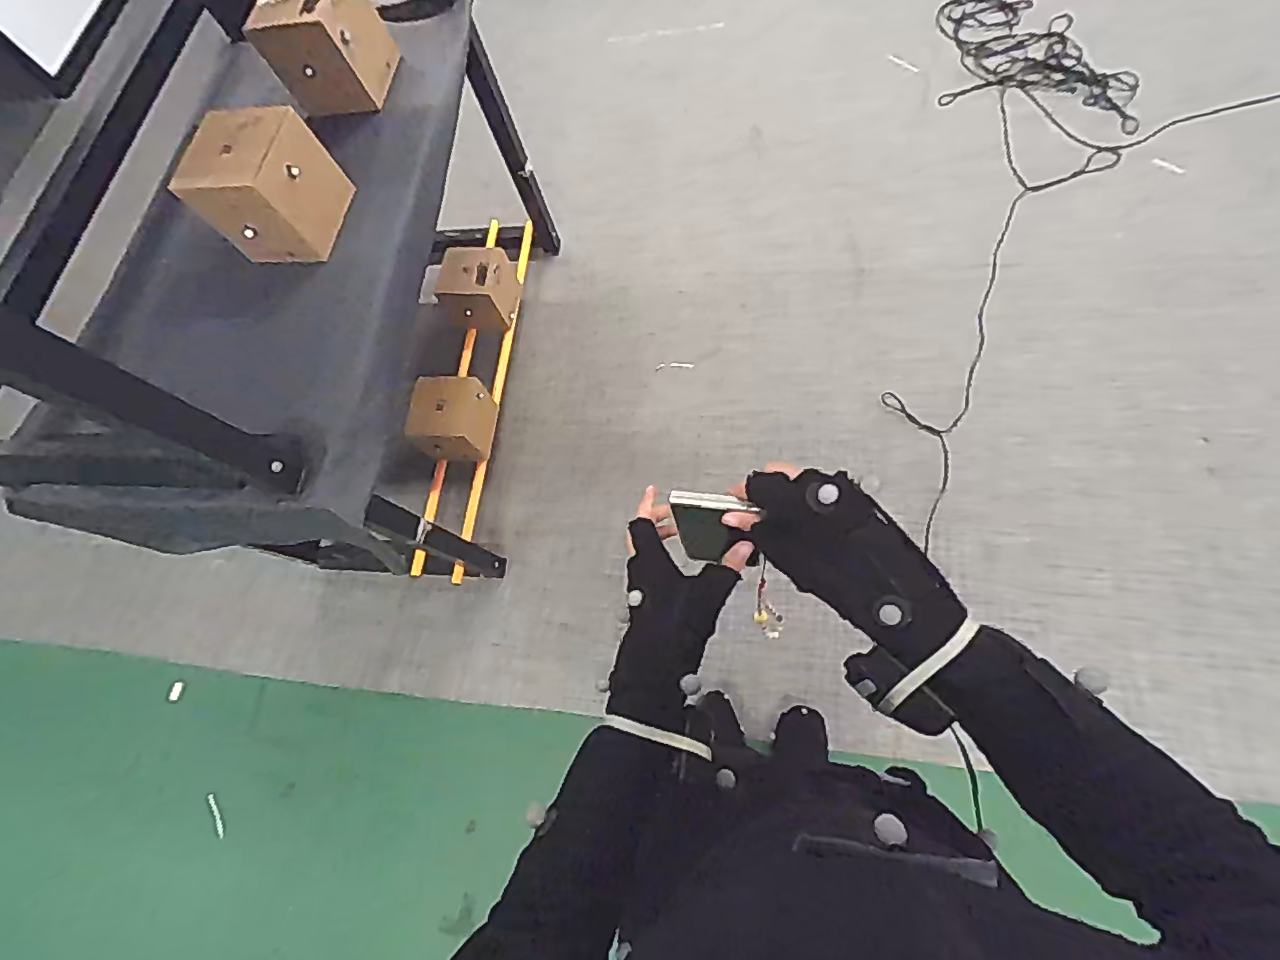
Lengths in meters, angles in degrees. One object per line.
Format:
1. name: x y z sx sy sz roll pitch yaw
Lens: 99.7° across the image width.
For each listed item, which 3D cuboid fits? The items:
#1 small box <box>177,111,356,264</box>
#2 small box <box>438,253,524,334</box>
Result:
1. small box: -0.638 -0.503 0.950 0.168 0.176 0.179 5 71 11
2. small box: -0.465 -0.551 1.613 0.179 0.176 0.168 5 70 11
